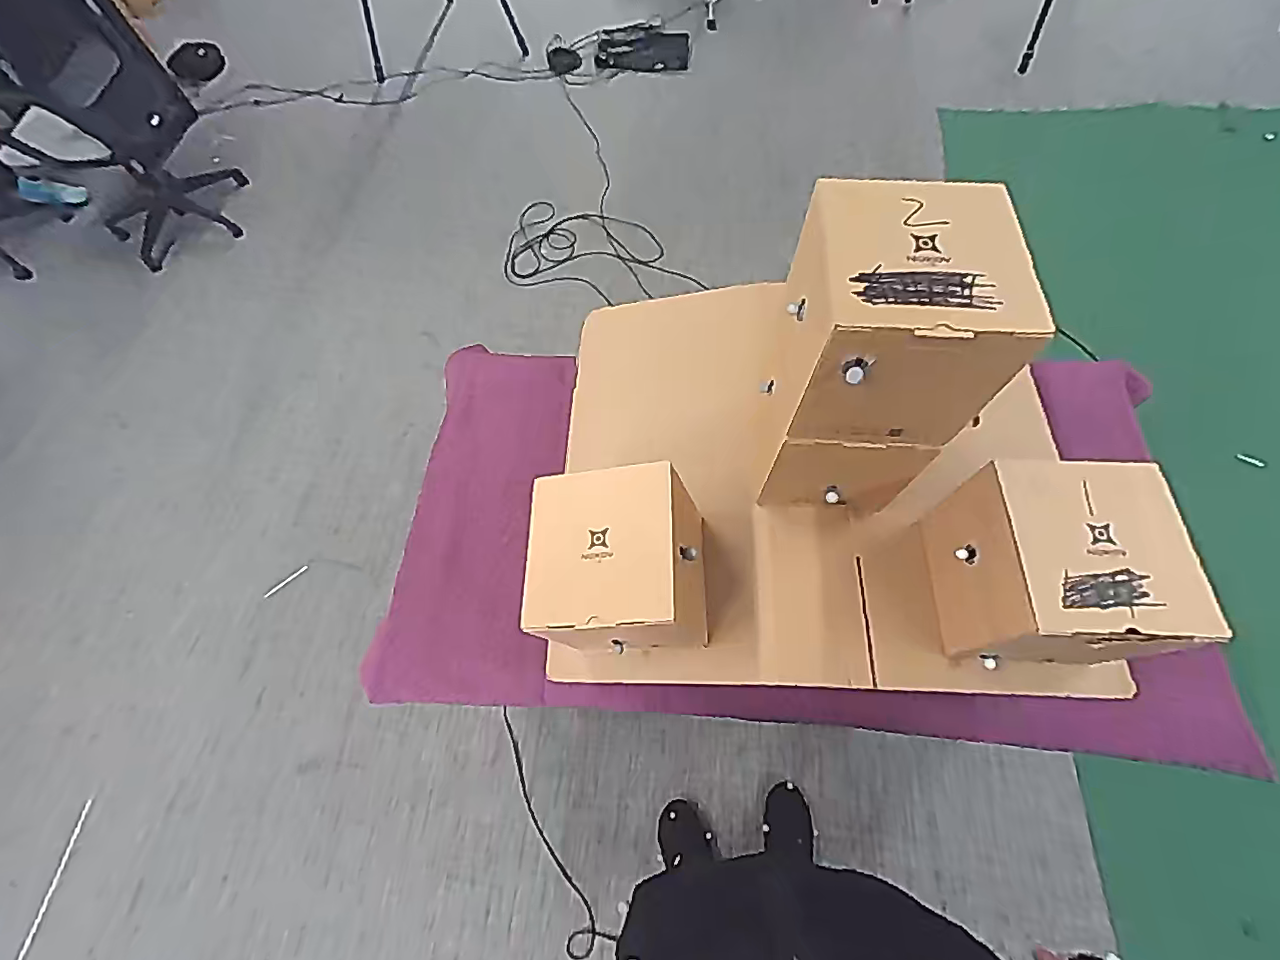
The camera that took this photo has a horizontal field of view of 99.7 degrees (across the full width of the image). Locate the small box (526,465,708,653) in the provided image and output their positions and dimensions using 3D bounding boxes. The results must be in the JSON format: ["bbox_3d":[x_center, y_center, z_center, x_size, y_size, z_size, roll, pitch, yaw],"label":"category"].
[{"bbox_3d":[-0.016,0.102,0.637,0.168,0.176,0.179,-7,65,15],"label":"small box"}]

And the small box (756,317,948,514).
[{"bbox_3d":[0.240,-0.073,0.662,0.168,0.176,0.179,3,64,3],"label":"small box"}]

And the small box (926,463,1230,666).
[{"bbox_3d":[0.436,0.098,0.578,0.168,0.176,0.179,2,64,2],"label":"small box"}]
